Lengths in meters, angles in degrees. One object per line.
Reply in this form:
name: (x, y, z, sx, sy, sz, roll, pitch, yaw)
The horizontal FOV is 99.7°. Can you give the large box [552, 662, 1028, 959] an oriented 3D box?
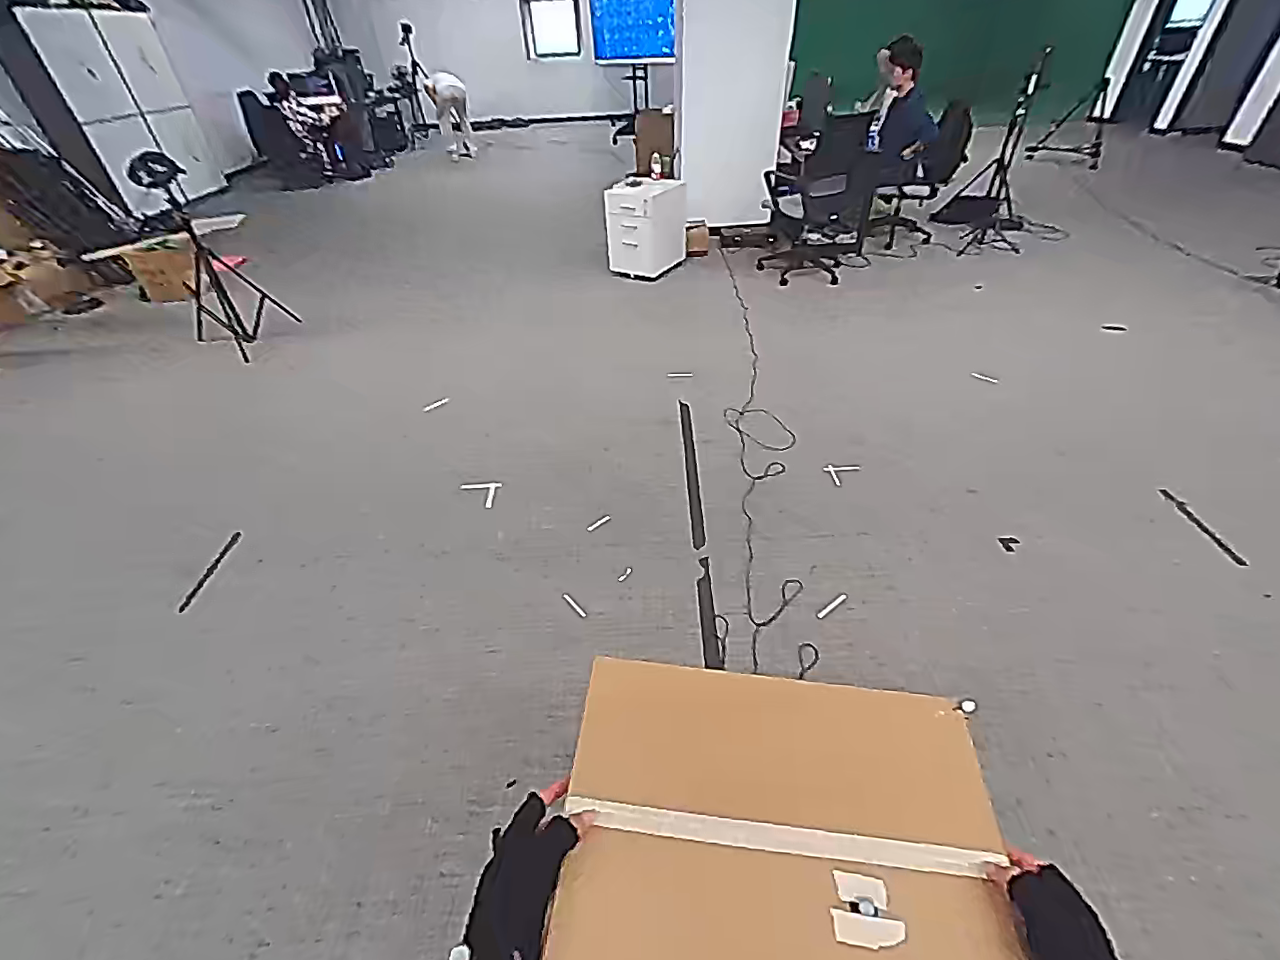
large box: (0.133, 0.441, 0.618, 0.408, 0.320, 0.320, 6, 46, 5)
